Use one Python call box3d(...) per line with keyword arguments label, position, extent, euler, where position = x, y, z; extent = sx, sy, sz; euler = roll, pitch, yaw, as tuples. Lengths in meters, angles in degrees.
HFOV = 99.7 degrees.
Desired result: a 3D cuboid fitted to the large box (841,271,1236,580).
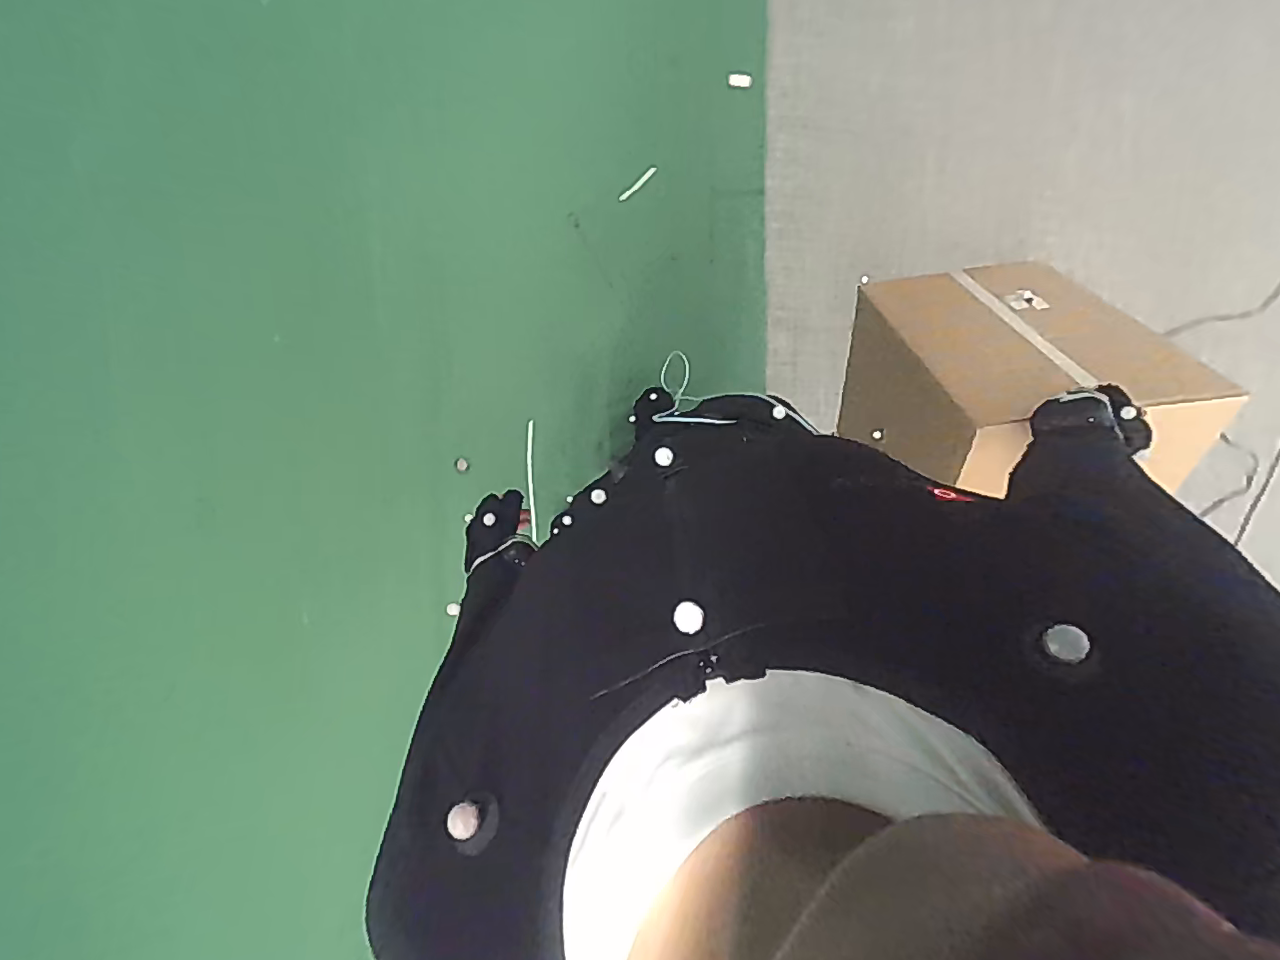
box3d(label="large box", position=(0.560, -0.098, 0.884), extent=(0.320, 0.408, 0.320), euler=(-6, 132, 2))
